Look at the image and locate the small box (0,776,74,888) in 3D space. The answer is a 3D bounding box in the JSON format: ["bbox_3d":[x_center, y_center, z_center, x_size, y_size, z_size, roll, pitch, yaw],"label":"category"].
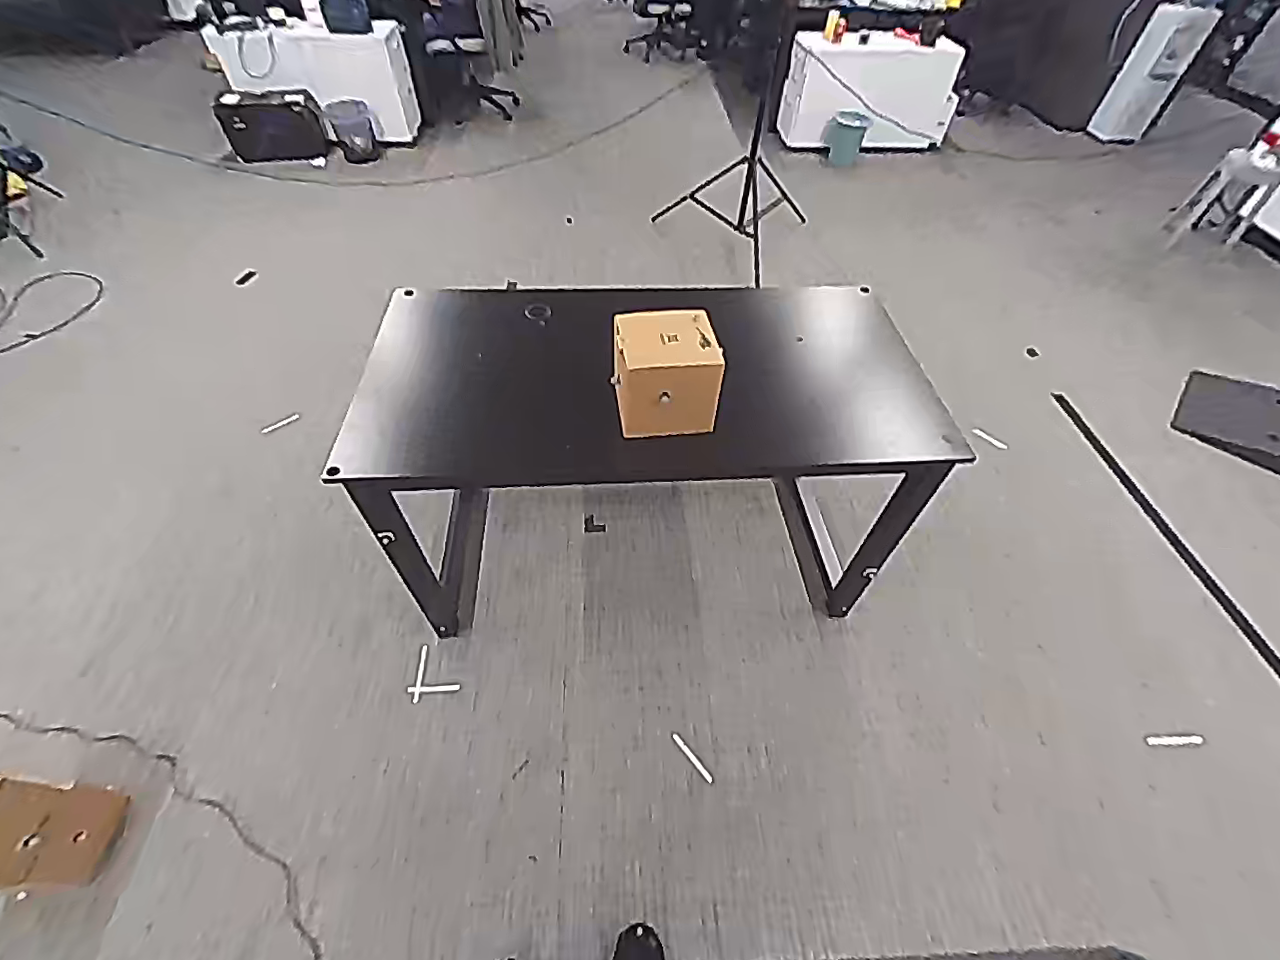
[{"bbox_3d":[-1.256,0.663,1.013,0.179,0.176,0.168,0,53,-3],"label":"small box"}]

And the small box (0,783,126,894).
[{"bbox_3d":[-1.258,0.759,1.143,0.168,0.176,0.179,-2,52,-4],"label":"small box"}]

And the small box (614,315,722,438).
[{"bbox_3d":[0.047,-0.195,1.041,0.179,0.176,0.168,-6,50,-6],"label":"small box"}]
